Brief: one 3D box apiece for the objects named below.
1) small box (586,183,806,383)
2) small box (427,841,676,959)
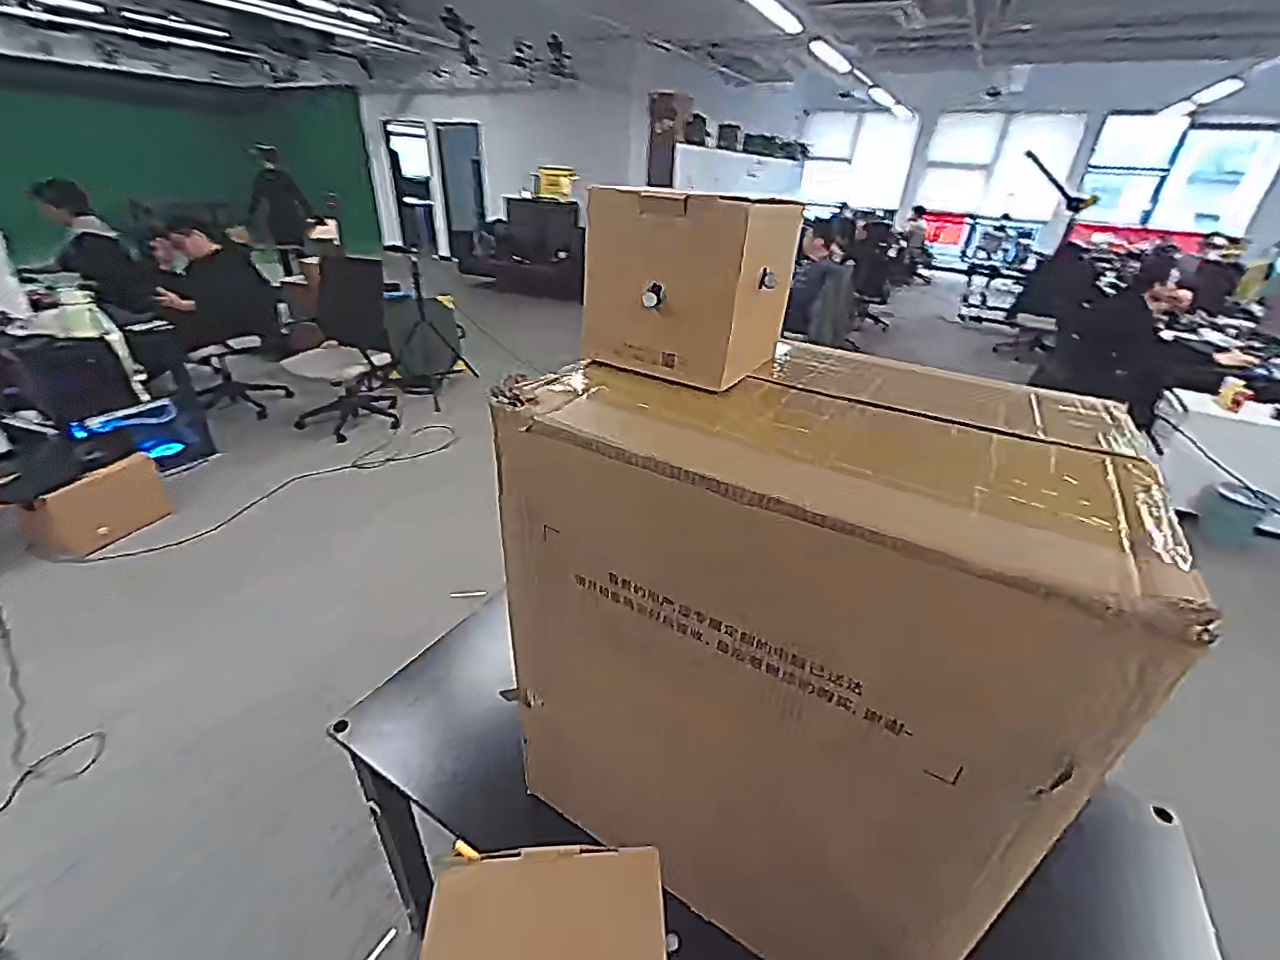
[{"bbox_3d":[0.058,-0.213,0.573,0.168,0.176,0.179,19,32,24],"label":"small box"},{"bbox_3d":[-0.060,0.388,0.385,0.168,0.176,0.179,0,39,-3],"label":"small box"}]
